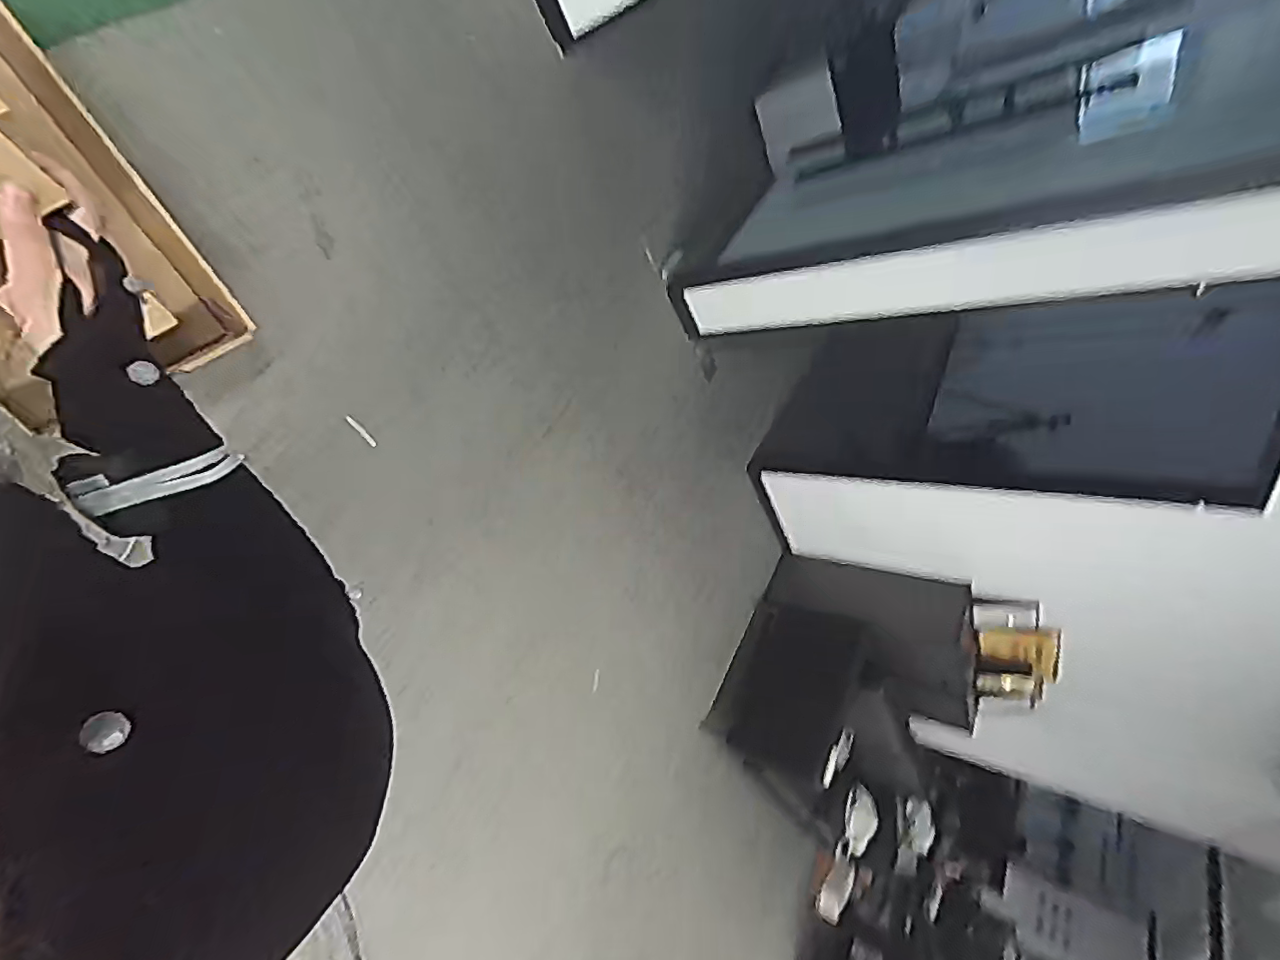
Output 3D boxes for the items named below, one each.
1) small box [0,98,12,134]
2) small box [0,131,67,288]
[{"bbox_3d":[-0.983,-0.513,0.689,0.179,0.176,0.168,-49,131,-33],"label":"small box"},{"bbox_3d":[-0.487,-0.175,0.307,0.179,0.176,0.168,-53,131,-25],"label":"small box"}]
